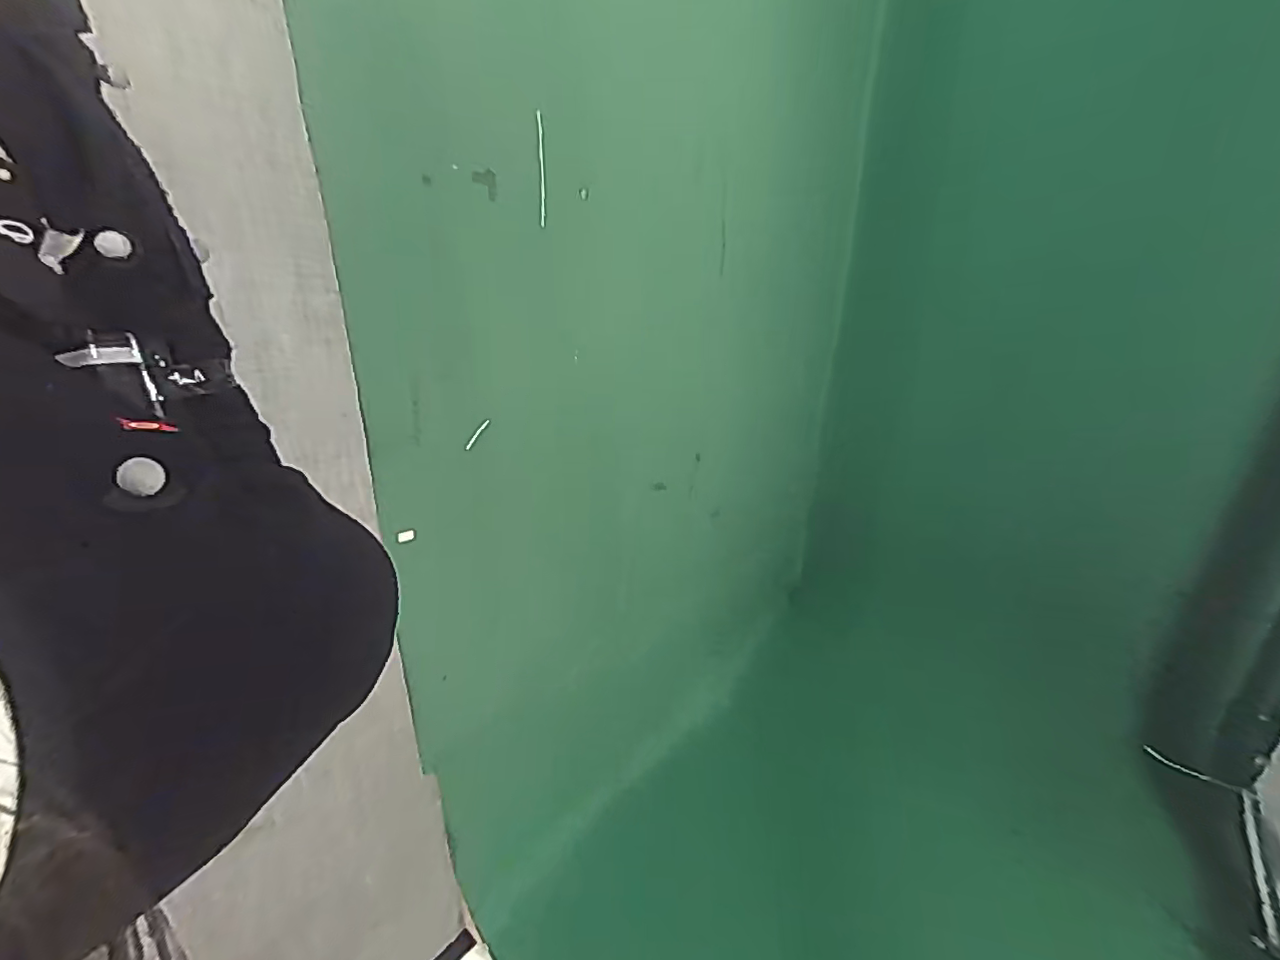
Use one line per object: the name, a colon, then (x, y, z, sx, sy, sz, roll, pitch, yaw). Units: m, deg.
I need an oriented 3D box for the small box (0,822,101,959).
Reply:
small box: (-0.977, 0.680, 0.825, 0.179, 0.176, 0.168, -22, 119, -43)
